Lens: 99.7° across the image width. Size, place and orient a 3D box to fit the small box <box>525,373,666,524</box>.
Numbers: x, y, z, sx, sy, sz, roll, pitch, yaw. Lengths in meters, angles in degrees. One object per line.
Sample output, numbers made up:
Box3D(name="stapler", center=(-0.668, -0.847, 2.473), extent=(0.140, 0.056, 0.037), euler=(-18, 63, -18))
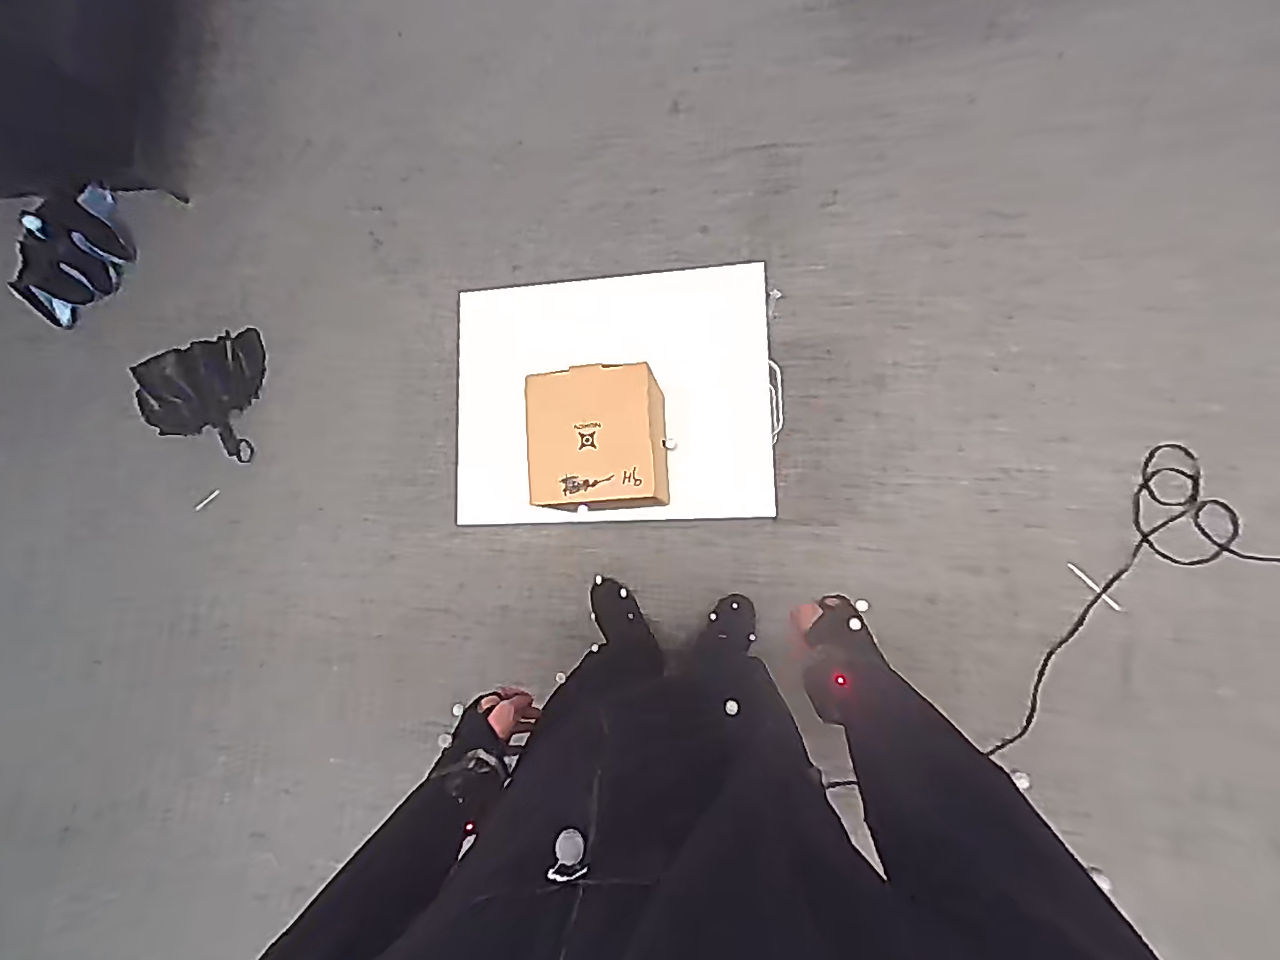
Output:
Box3D(name="small box", center=(-0.056, -0.034, 0.771), extent=(0.168, 0.176, 0.179), euler=(-6, 81, 9))
